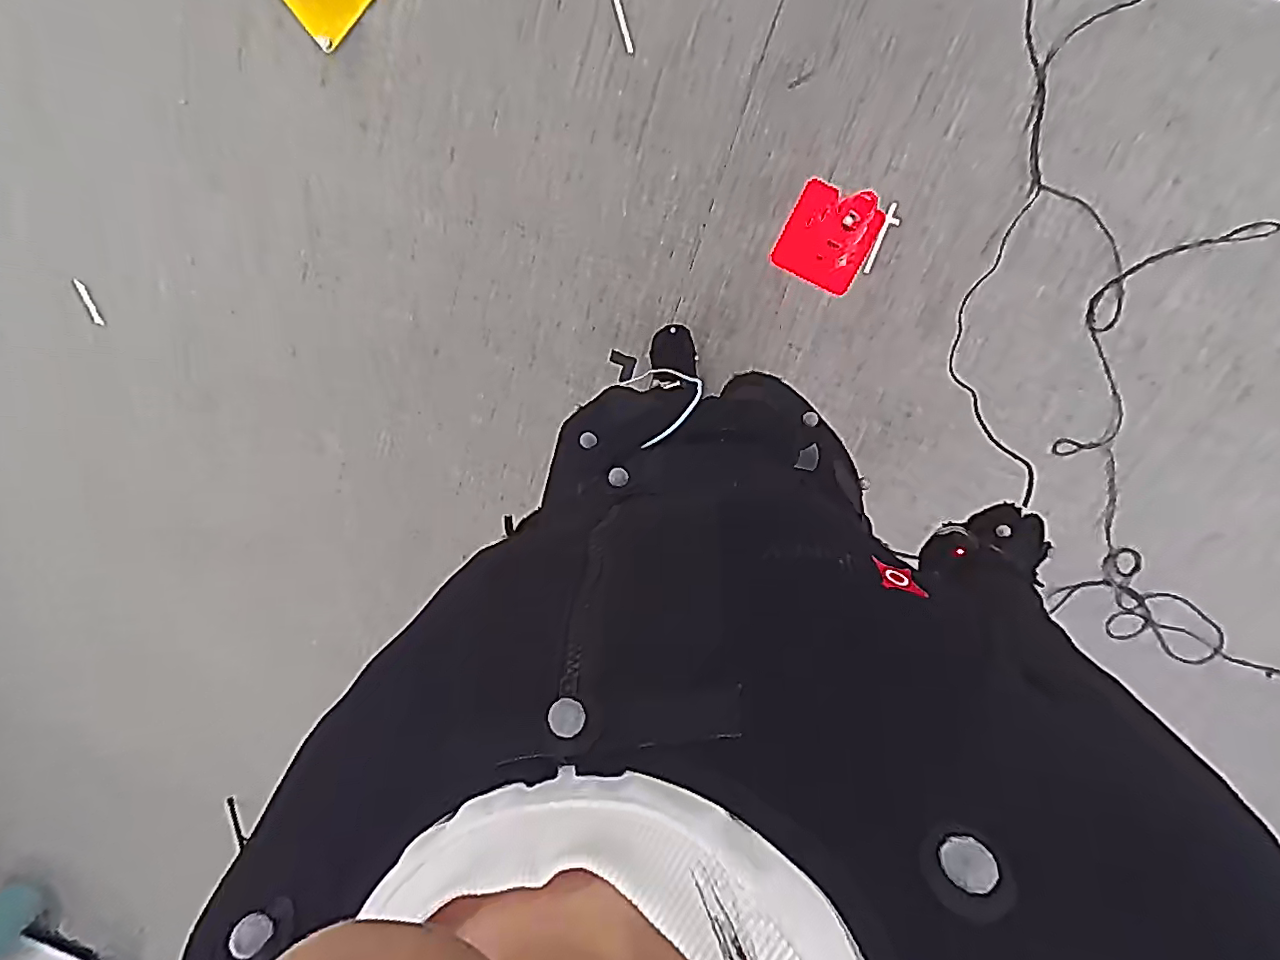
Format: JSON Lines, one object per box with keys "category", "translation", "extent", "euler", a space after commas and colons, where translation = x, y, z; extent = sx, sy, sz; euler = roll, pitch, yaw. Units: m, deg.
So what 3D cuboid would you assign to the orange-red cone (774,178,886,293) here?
{"category": "orange-red cone", "translation": [0.405, -0.514, 1.070], "extent": [0.199, 0.360, 0.198], "euler": [28, 106, 2]}
